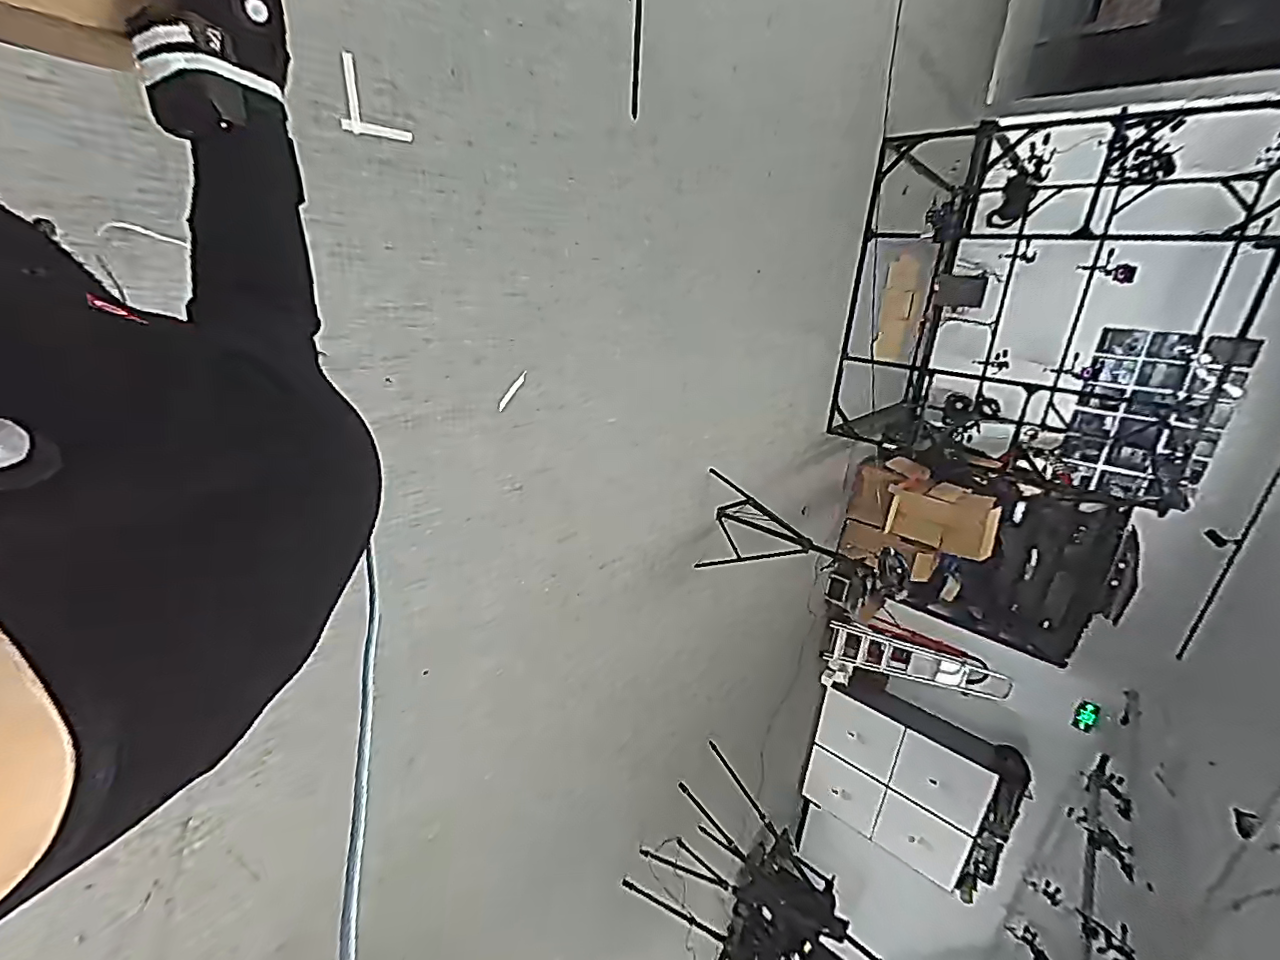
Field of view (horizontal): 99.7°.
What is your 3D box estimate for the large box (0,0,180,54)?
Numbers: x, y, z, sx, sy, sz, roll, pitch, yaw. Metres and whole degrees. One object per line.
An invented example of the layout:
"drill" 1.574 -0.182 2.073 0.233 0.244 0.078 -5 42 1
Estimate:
"large box" -0.550 -0.471 0.272 0.408 0.320 0.320 -17 127 -46
